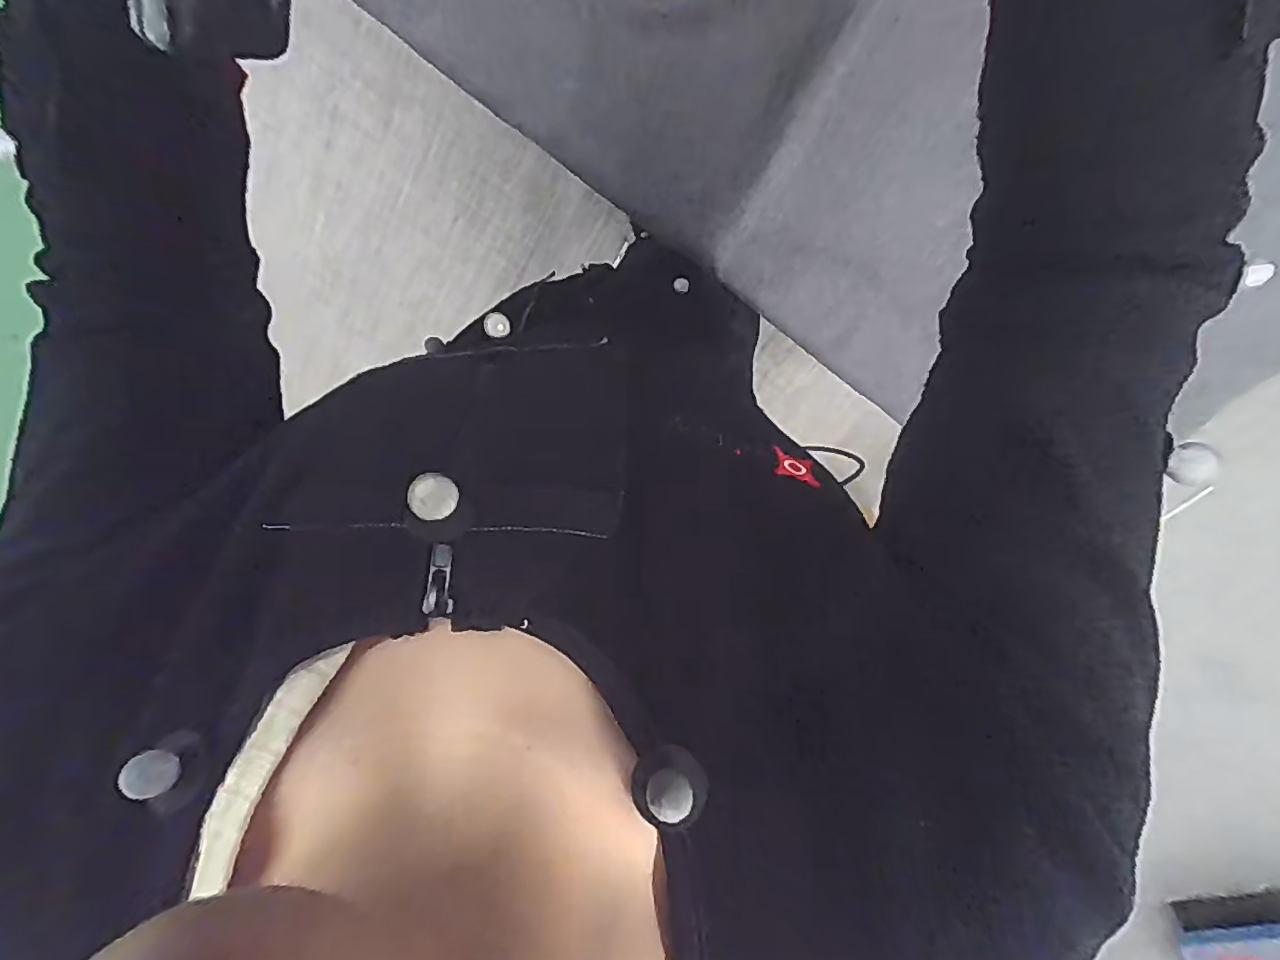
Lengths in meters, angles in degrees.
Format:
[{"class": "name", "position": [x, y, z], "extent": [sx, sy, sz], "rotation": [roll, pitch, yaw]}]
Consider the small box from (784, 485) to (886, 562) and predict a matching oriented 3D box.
[{"class": "small box", "position": [0.509, 0.140, 1.436], "extent": [0.179, 0.176, 0.168], "rotation": [27, 119, -9]}]
